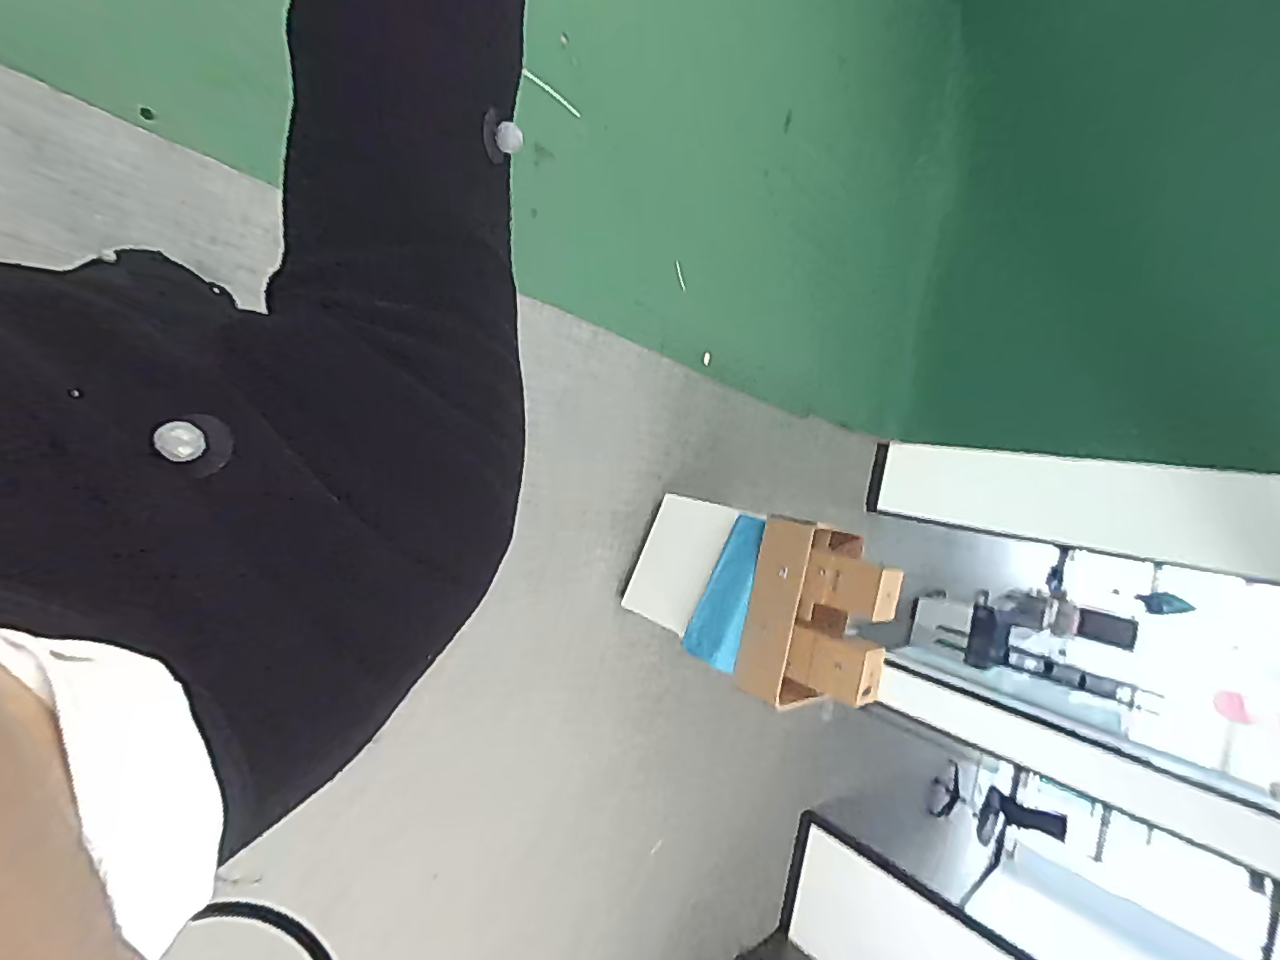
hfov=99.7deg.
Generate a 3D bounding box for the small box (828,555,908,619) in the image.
[{"bbox_3d":[0.743,0.347,1.765,0.179,0.176,0.168,12,91,-44],"label":"small box"}]

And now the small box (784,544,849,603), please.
[{"bbox_3d":[0.628,0.322,1.878,0.179,0.176,0.168,12,90,-45],"label":"small box"}]

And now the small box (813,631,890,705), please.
[{"bbox_3d":[0.685,0.606,1.760,0.168,0.176,0.179,12,89,-44],"label":"small box"}]
